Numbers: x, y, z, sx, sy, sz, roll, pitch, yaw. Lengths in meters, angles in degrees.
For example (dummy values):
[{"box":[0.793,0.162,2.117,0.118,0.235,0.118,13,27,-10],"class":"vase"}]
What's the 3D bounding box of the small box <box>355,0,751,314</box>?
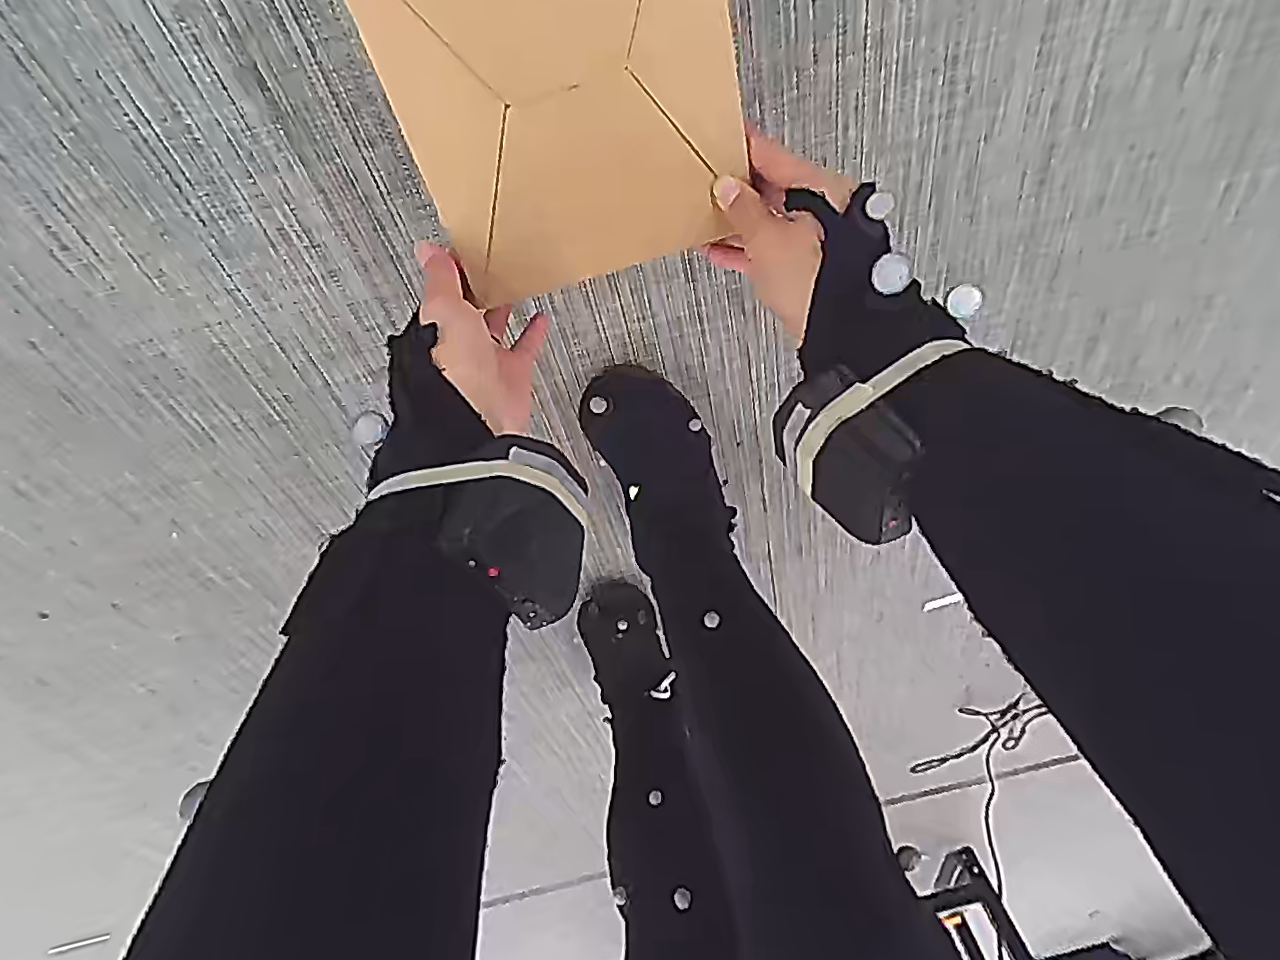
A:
[{"box":[-0.041,-0.227,0.327,0.168,0.176,0.179,-16,124,3],"class":"small box"}]
